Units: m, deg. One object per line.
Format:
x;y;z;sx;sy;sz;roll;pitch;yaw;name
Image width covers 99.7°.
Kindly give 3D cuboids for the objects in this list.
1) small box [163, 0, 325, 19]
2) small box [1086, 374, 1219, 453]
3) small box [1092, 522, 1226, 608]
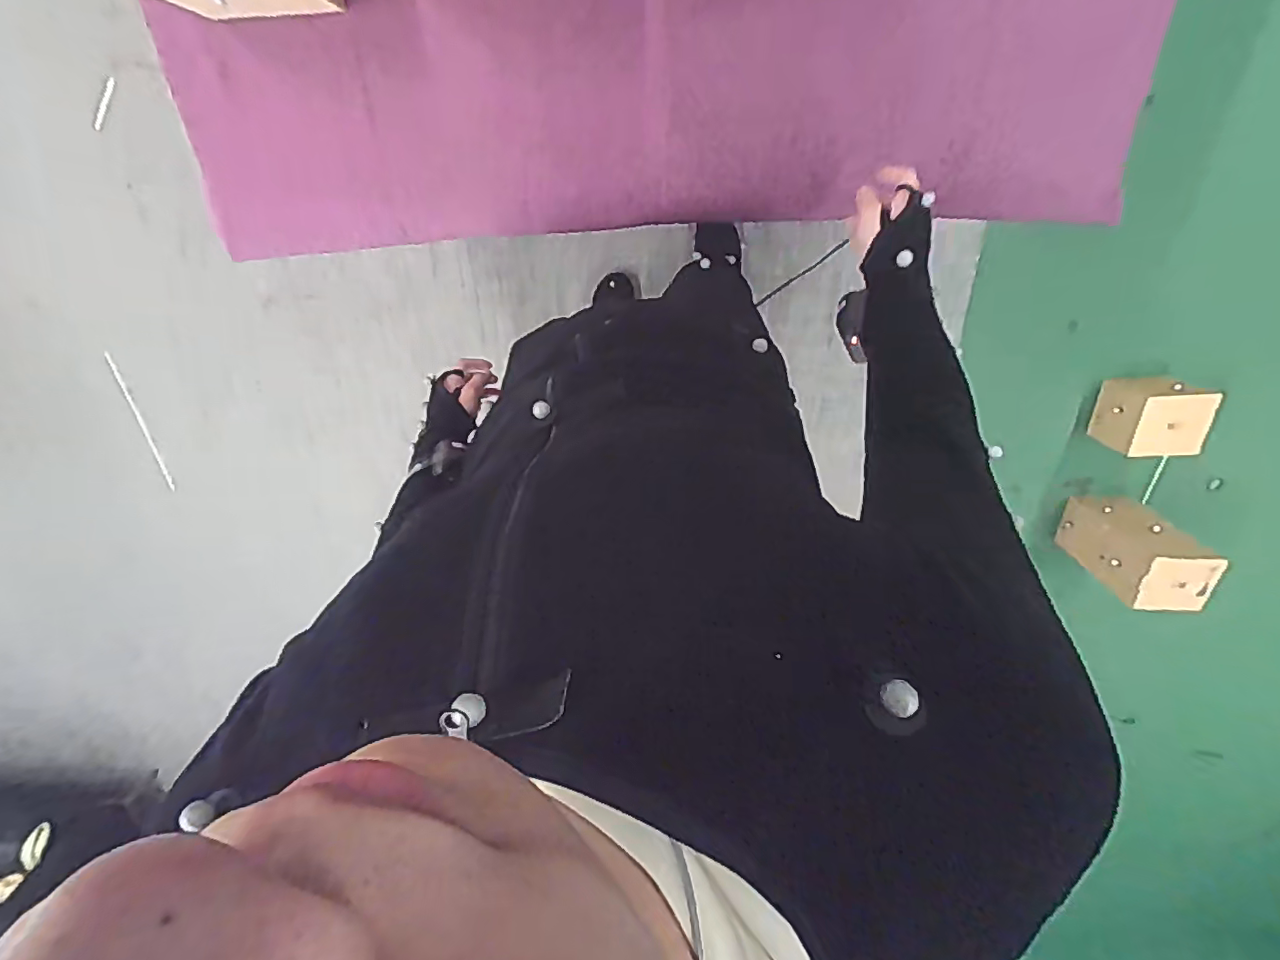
-0.450;-0.600;0.550;0.179;0.176;0.168;0;117;5;small box
1.359;-0.181;1.451;0.179;0.176;0.168;-3;116;4;small box
1.391;0.224;1.466;0.179;0.176;0.168;2;118;4;small box
